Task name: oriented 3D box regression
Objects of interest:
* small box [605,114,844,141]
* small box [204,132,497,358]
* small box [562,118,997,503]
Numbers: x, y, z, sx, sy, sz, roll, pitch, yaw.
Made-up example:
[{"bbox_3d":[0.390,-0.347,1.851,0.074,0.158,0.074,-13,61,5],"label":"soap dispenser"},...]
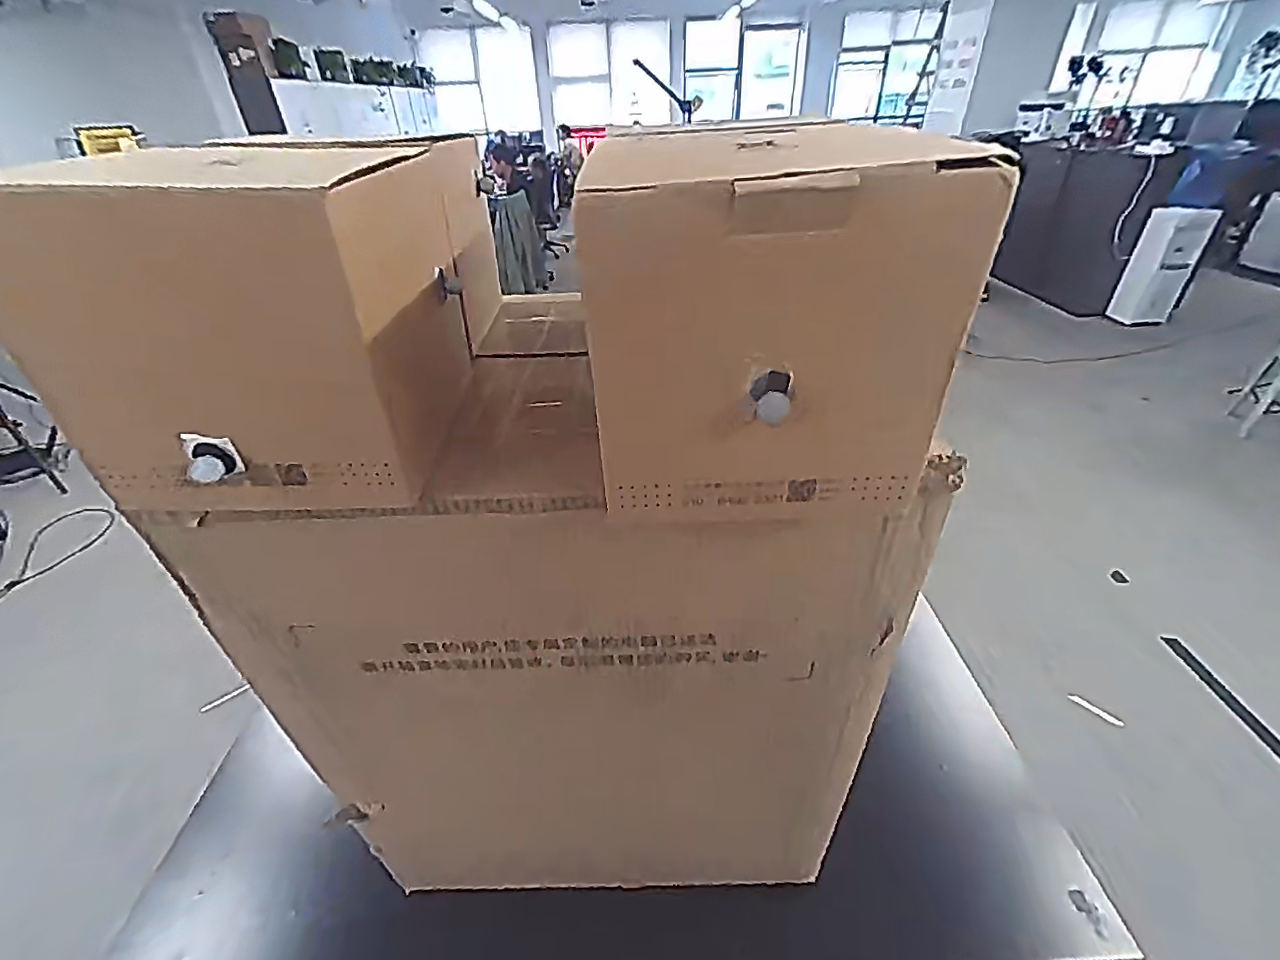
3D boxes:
[{"bbox_3d":[0.057,-0.216,0.476,0.168,0.176,0.179,-5,34,-1],"label":"small box"},{"bbox_3d":[-0.237,-0.221,0.503,0.168,0.176,0.179,-3,33,-2],"label":"small box"},{"bbox_3d":[0.058,-0.097,0.314,0.168,0.176,0.179,-2,36,3],"label":"small box"}]
